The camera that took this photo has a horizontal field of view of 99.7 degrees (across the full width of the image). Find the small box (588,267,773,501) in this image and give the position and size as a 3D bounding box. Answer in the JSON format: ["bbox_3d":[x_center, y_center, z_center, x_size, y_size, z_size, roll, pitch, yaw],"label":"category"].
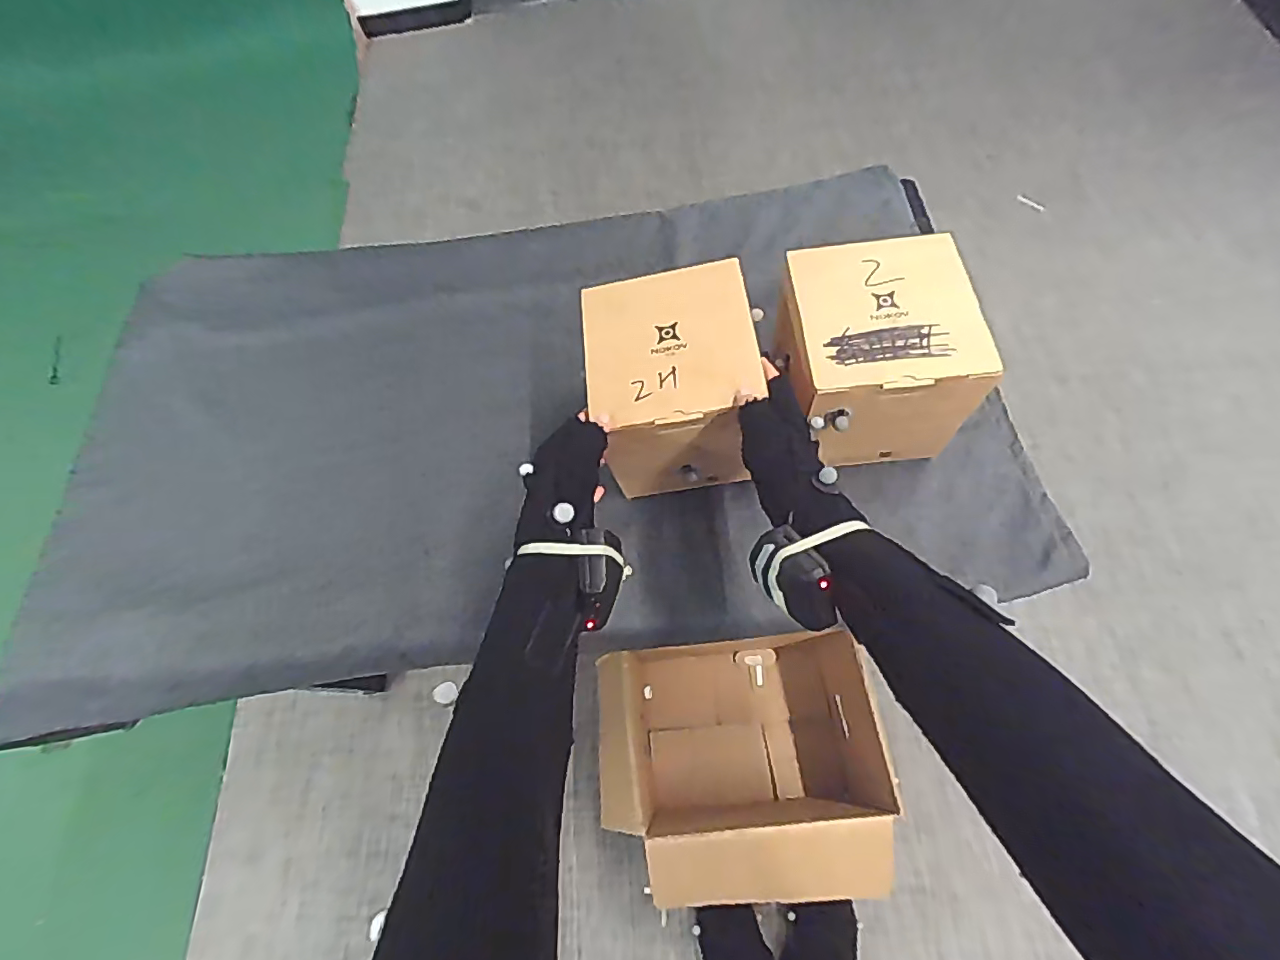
[{"bbox_3d":[0.045,-0.095,0.593,0.168,0.176,0.179,-9,65,8],"label":"small box"}]
